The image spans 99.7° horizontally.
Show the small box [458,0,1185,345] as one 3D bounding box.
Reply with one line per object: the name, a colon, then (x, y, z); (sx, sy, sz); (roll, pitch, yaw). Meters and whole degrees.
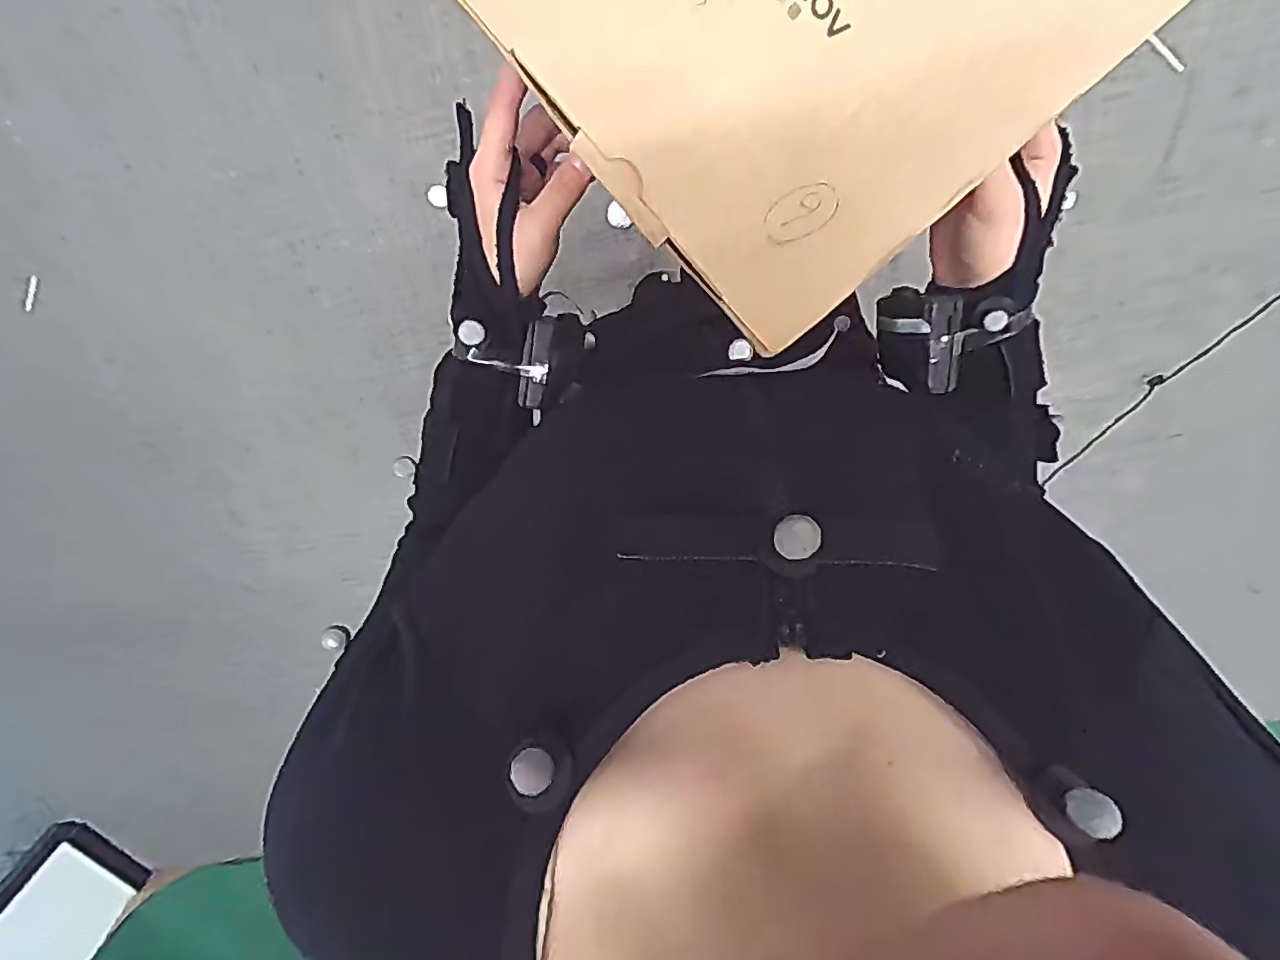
small box: (0.060, -0.189, 0.229); (0.179, 0.176, 0.168); (-39, 107, 20)
